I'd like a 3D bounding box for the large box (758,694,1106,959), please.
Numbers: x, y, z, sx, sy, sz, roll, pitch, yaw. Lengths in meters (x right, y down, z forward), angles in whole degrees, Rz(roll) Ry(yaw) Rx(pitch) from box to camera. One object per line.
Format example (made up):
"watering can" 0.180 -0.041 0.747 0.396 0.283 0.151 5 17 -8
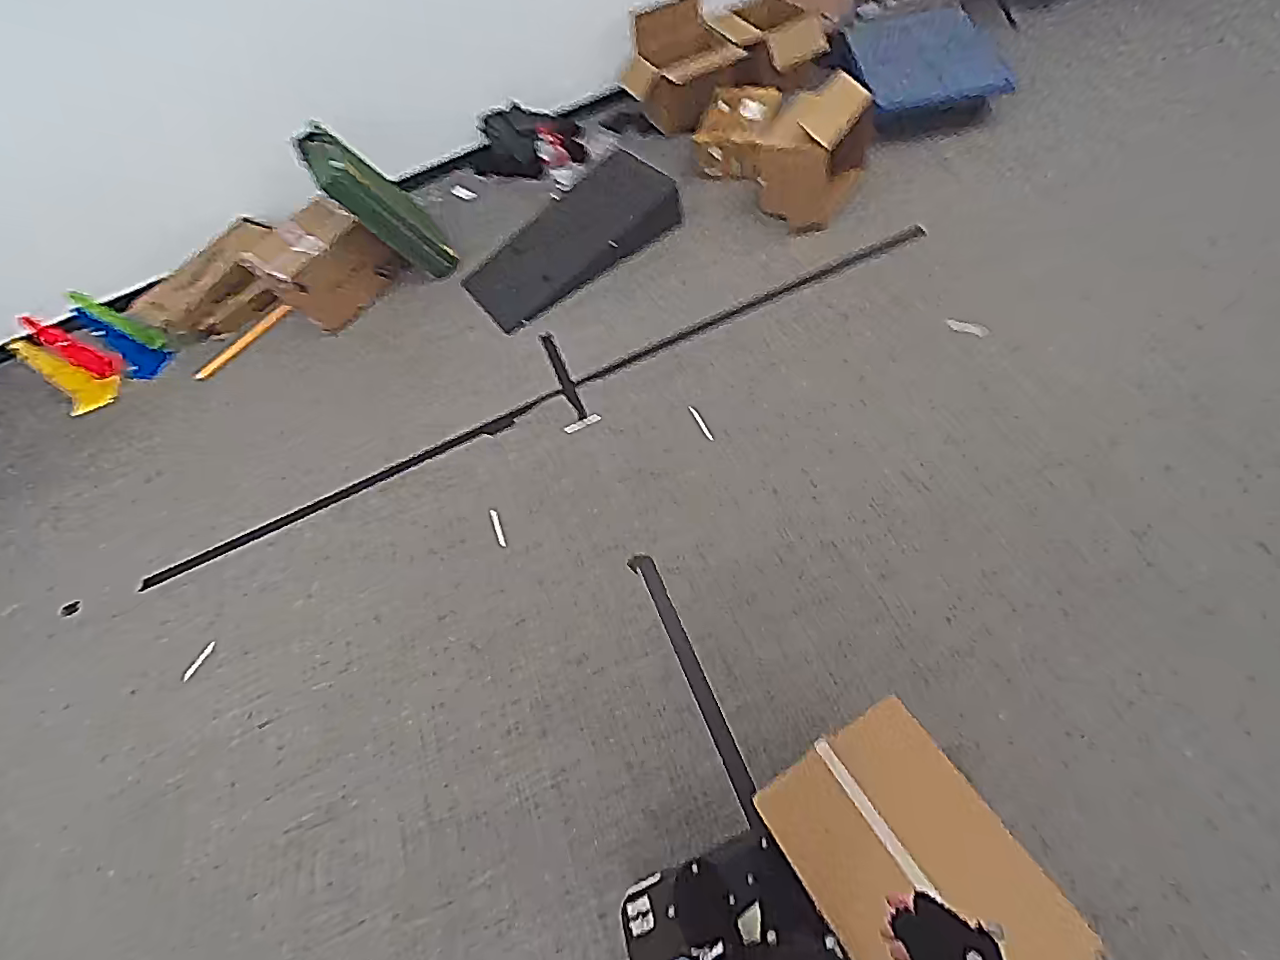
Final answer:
"large box" 0.467 0.661 0.977 0.320 0.320 0.408 -36 60 -2
